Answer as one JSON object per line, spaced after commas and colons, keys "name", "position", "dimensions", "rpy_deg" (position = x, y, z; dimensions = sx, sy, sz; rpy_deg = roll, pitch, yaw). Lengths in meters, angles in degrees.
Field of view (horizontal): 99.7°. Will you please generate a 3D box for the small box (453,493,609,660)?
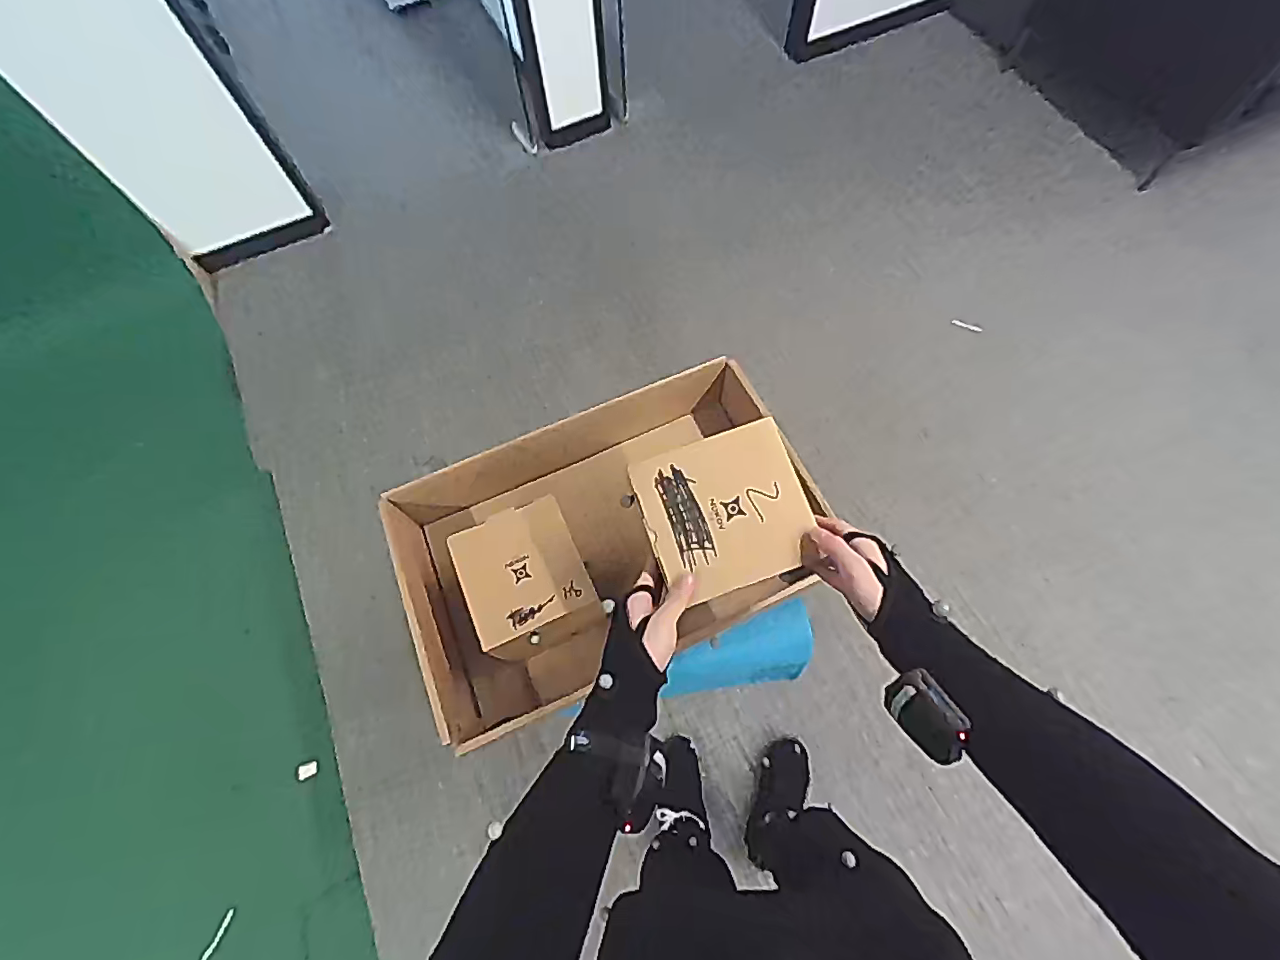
{"name": "small box", "position": [-0.158, 0.153, 0.823], "dimensions": [0.168, 0.176, 0.179], "rpy_deg": [-24, 67, -7]}
